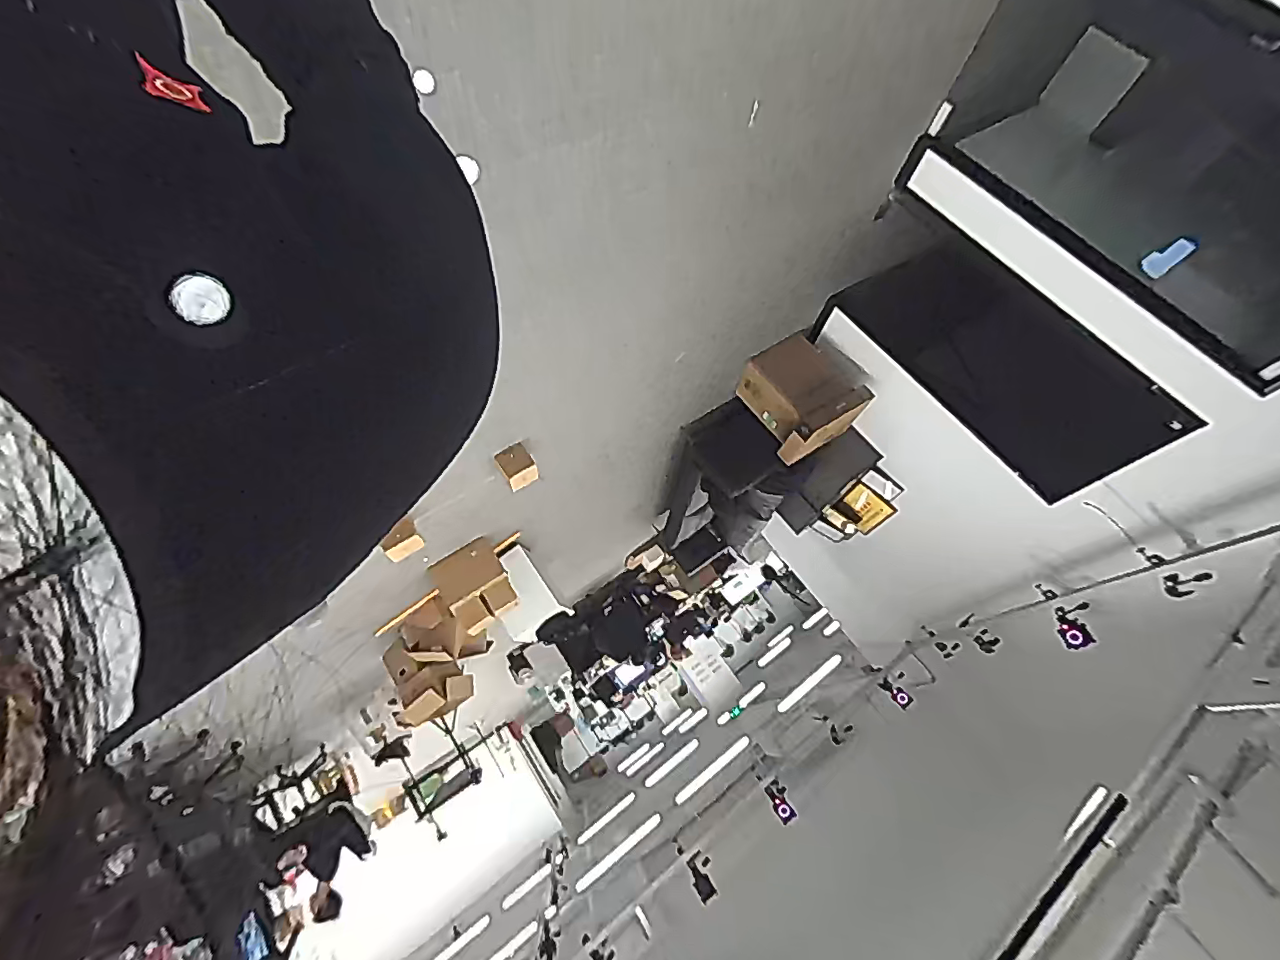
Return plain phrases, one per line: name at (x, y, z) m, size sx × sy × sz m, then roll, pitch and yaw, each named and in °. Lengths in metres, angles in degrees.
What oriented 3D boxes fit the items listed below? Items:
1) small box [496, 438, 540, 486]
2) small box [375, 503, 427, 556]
small box at (-0.667, -0.099, 2.956) m, size 0.168 × 0.176 × 0.179 m, roll -32°, pitch 162°, yaw -18°
small box at (-1.222, 0.251, 2.757) m, size 0.179 × 0.176 × 0.168 m, roll -32°, pitch 161°, yaw -18°
